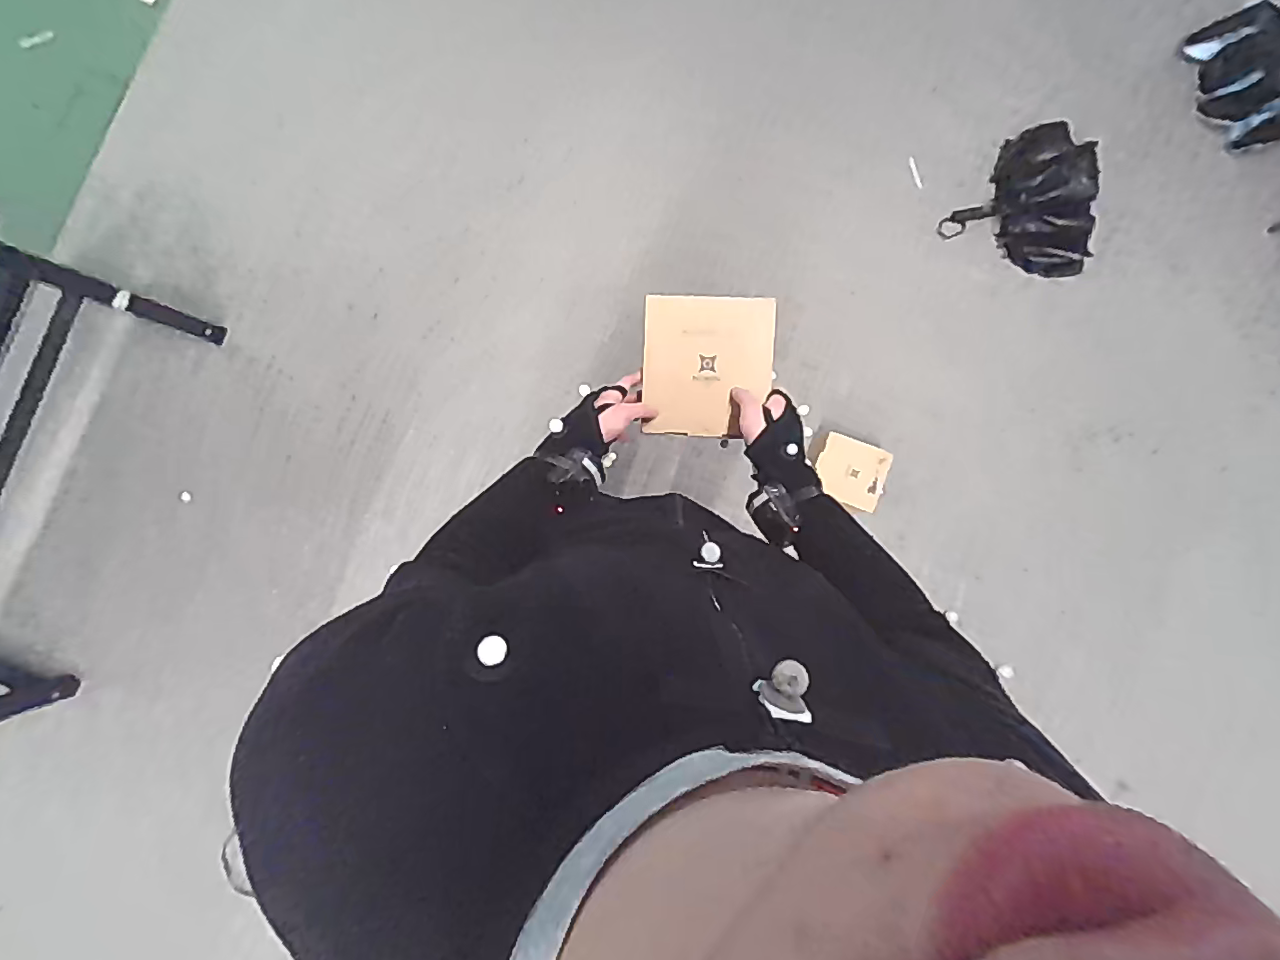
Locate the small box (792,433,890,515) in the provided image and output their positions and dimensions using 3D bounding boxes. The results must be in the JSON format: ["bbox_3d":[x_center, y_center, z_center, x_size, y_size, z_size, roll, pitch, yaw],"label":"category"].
[{"bbox_3d":[0.532,-0.011,1.457,0.179,0.176,0.168,21,88,3],"label":"small box"}]

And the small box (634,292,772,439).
[{"bbox_3d":[0.078,-0.146,0.743,0.168,0.176,0.179,2,94,0],"label":"small box"}]
